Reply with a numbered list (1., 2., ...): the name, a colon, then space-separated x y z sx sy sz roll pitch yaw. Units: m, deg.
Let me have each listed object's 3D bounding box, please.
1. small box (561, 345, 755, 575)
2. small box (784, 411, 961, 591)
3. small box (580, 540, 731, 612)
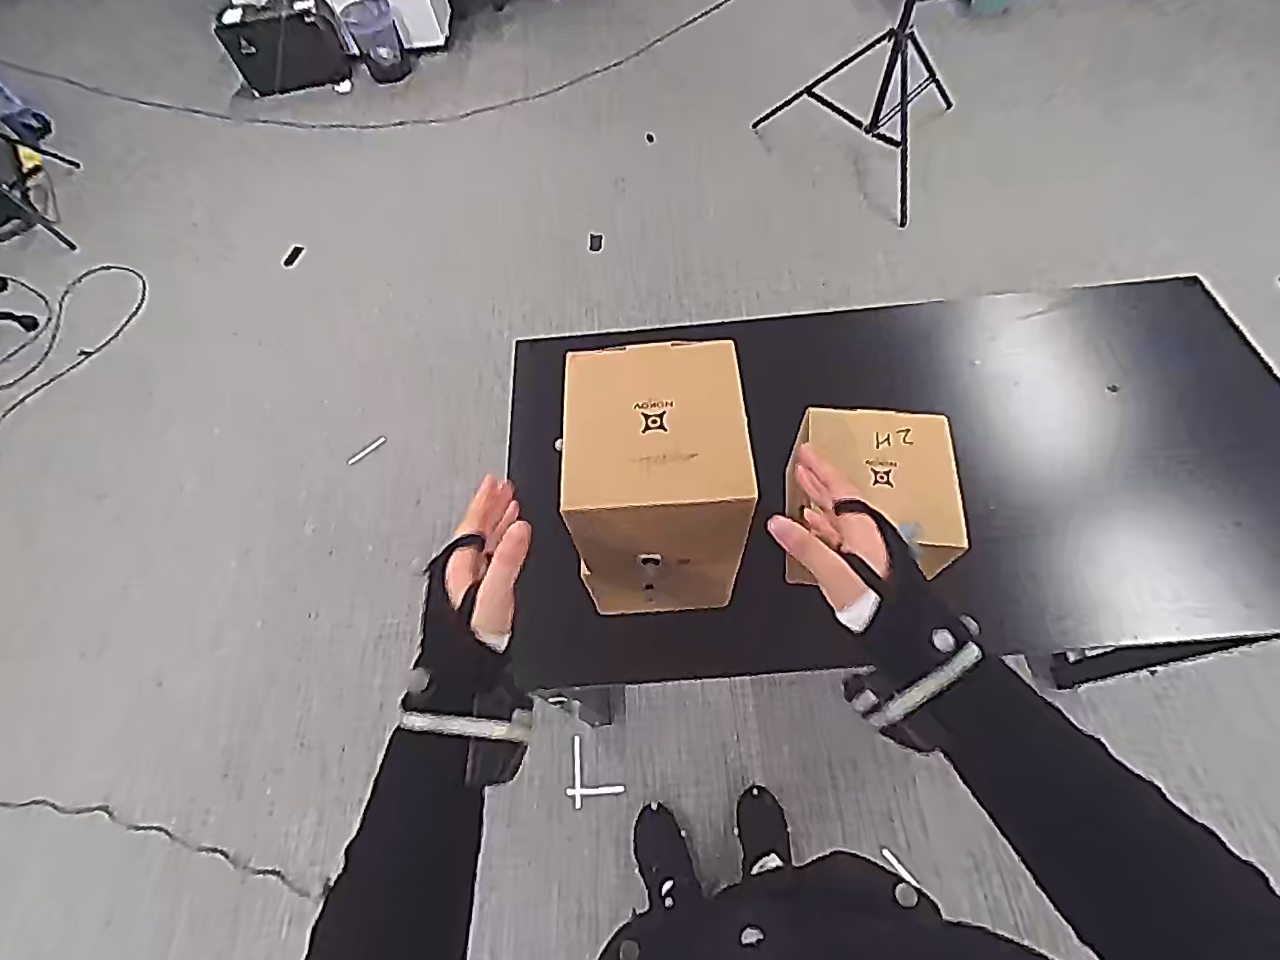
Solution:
1. small box: 0.018 -0.014 0.560 0.168 0.176 0.179 -4 61 3
2. small box: 0.284 0.033 0.700 0.168 0.176 0.179 5 61 7
3. small box: 0.024 0.068 0.702 0.179 0.176 0.168 -5 61 3
